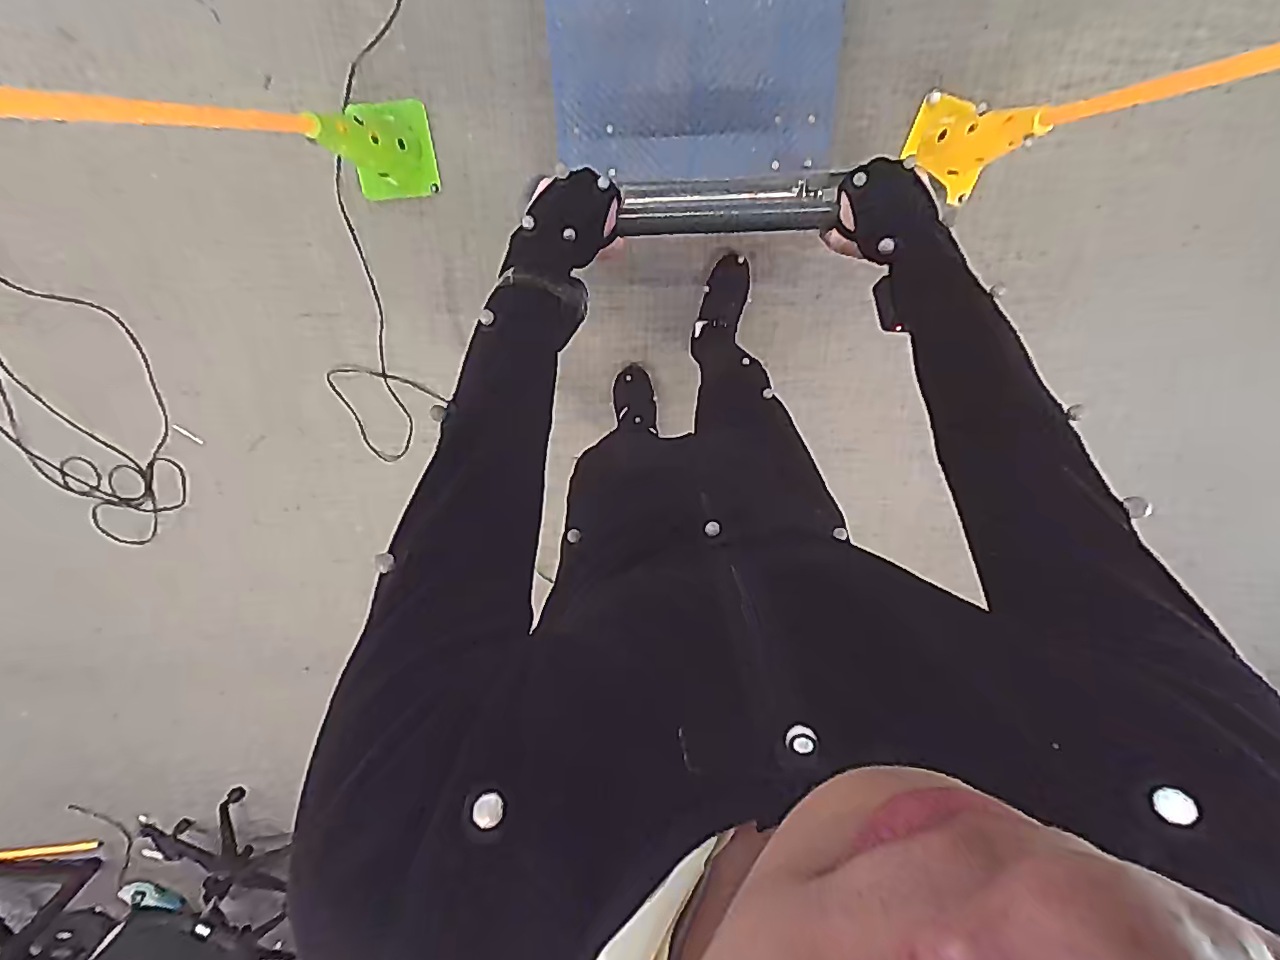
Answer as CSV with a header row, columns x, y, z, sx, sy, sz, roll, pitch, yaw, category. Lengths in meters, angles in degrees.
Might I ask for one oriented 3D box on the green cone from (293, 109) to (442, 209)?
x,y,z,sx,sy,sz,roll,pitch,yaw,category
-0.605,-0.710,1.158,0.202,0.368,0.200,-3,113,5,green cone
